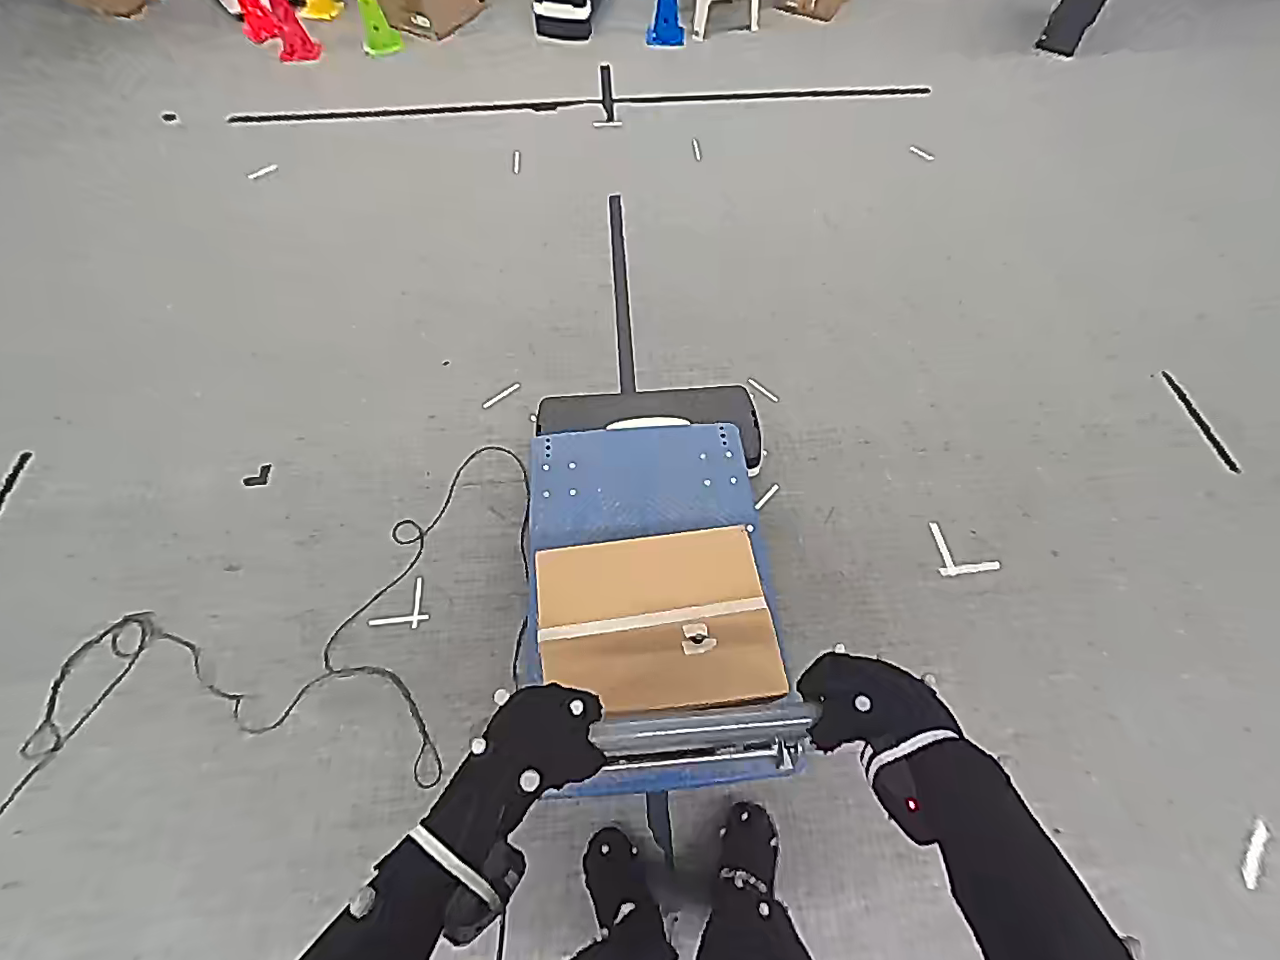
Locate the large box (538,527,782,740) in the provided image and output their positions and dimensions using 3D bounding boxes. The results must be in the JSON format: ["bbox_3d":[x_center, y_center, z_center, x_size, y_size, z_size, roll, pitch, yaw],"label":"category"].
[{"bbox_3d":[0.019,0.321,1.102,0.408,0.320,0.320,-6,62,-6],"label":"large box"}]
